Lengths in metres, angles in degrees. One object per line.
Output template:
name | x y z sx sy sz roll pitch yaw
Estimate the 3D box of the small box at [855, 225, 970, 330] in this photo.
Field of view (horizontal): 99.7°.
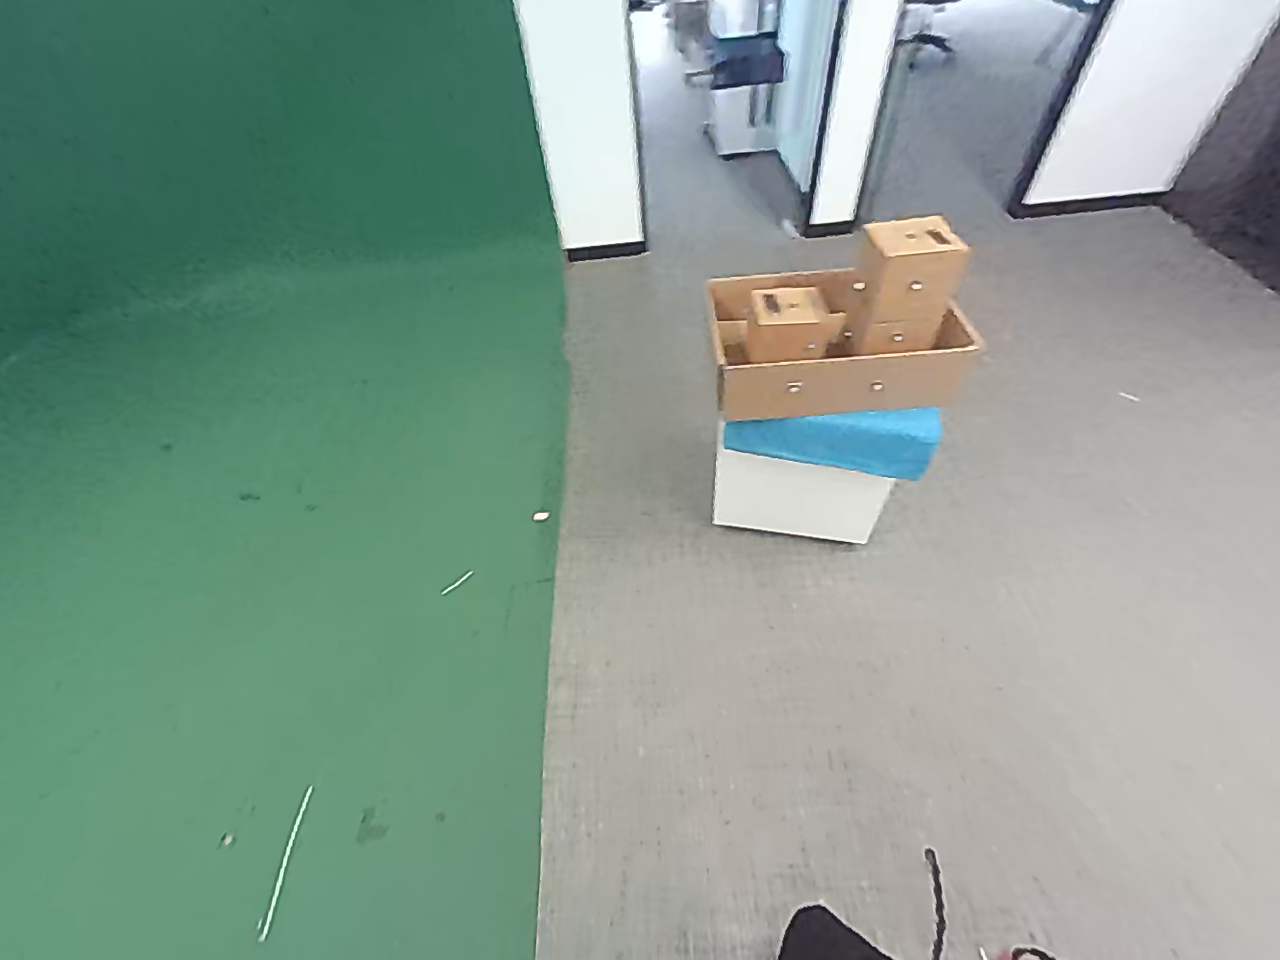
small box | 0.630 -0.475 1.274 0.179 0.176 0.168 -5 47 4
